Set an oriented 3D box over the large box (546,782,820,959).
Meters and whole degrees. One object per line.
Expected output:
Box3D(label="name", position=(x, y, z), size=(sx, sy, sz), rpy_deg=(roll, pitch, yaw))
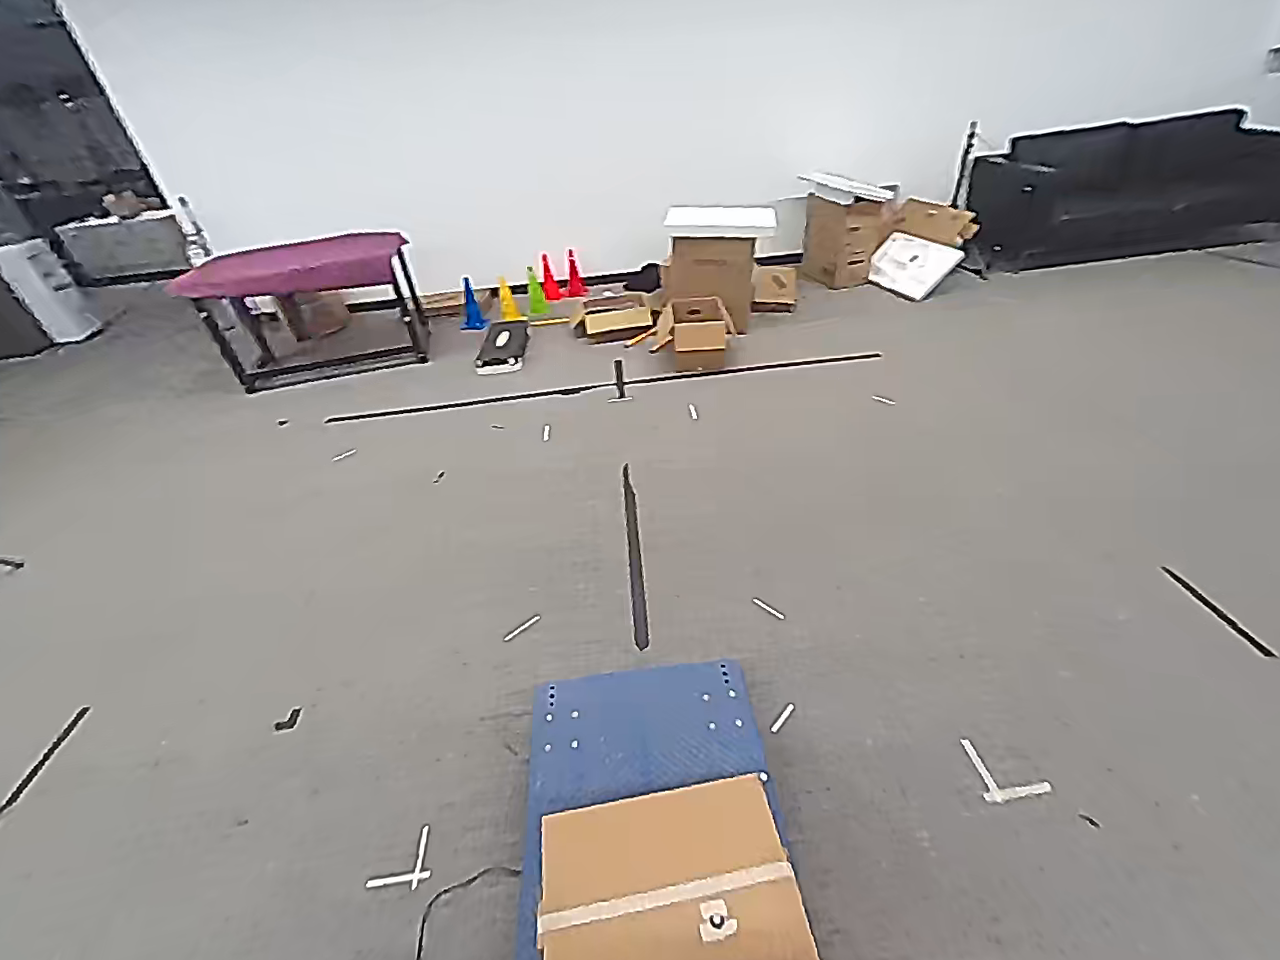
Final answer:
Box3D(label="large box", position=(0.061, 0.796, 0.949), size=(0.408, 0.320, 0.320), rpy_deg=(-8, 38, -5))
